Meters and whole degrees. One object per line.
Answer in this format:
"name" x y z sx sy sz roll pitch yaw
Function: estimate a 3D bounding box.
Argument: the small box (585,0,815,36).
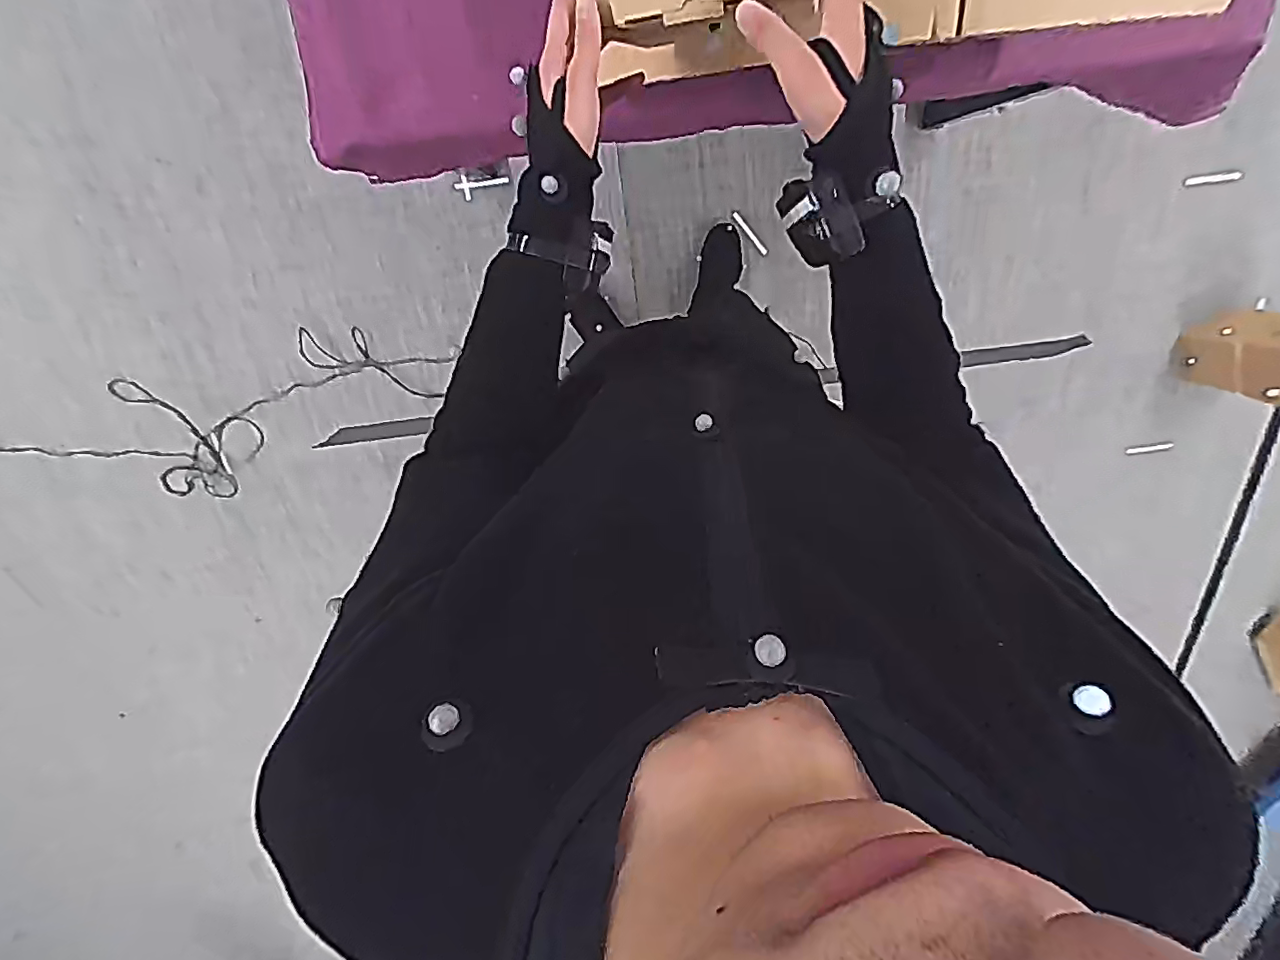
"small box" 0.052 -0.451 0.401 0.168 0.176 0.179 4 126 17
